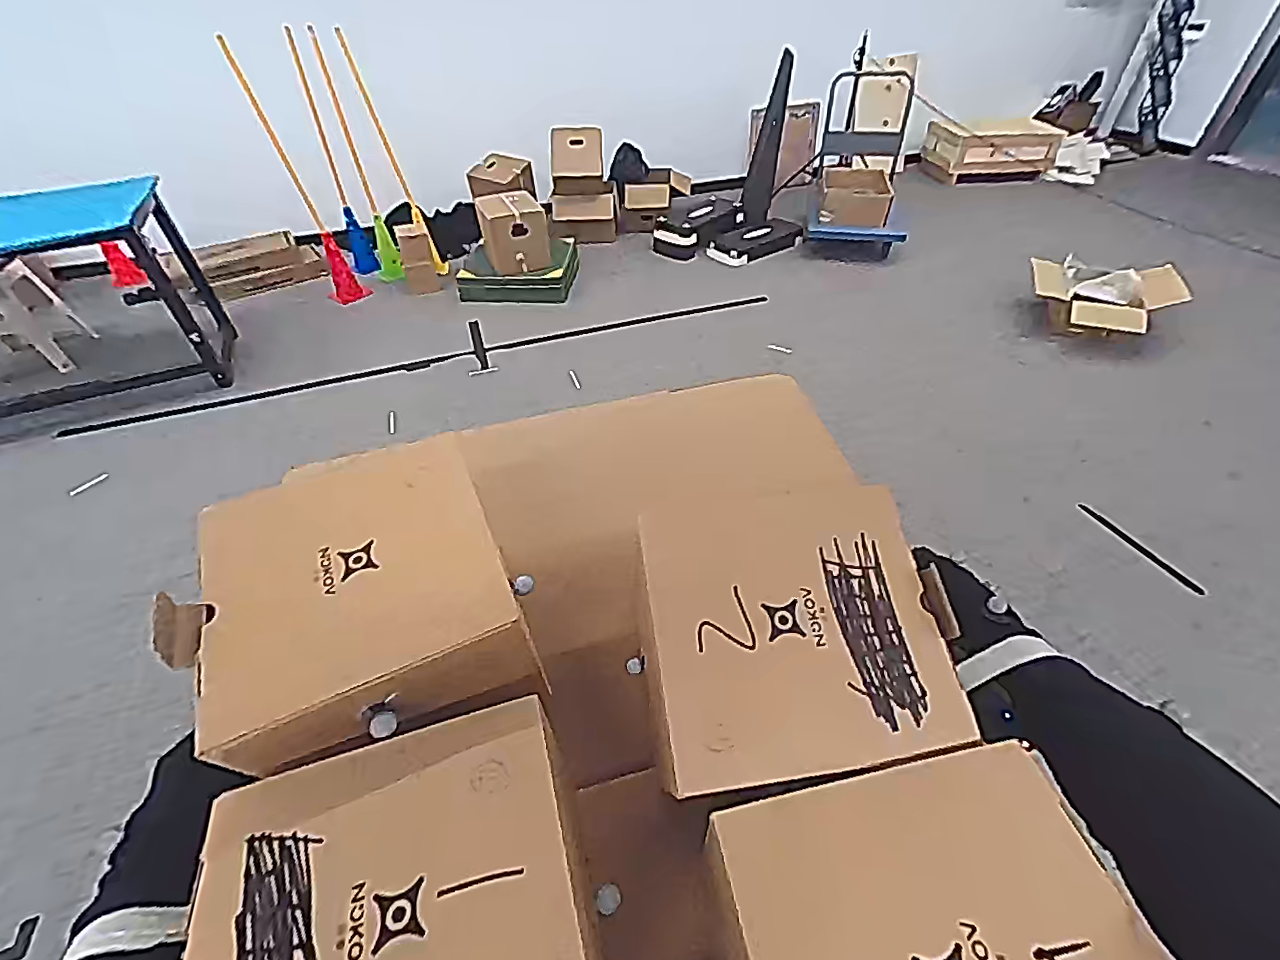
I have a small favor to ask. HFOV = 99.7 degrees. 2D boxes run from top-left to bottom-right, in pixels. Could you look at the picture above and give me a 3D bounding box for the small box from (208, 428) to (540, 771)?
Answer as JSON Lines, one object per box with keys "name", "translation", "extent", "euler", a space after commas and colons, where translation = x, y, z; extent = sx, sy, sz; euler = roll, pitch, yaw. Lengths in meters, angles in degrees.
{"name": "small box", "translation": [-0.186, 0.094, 0.417], "extent": [0.179, 0.176, 0.168], "euler": [-21, 55, -14]}
